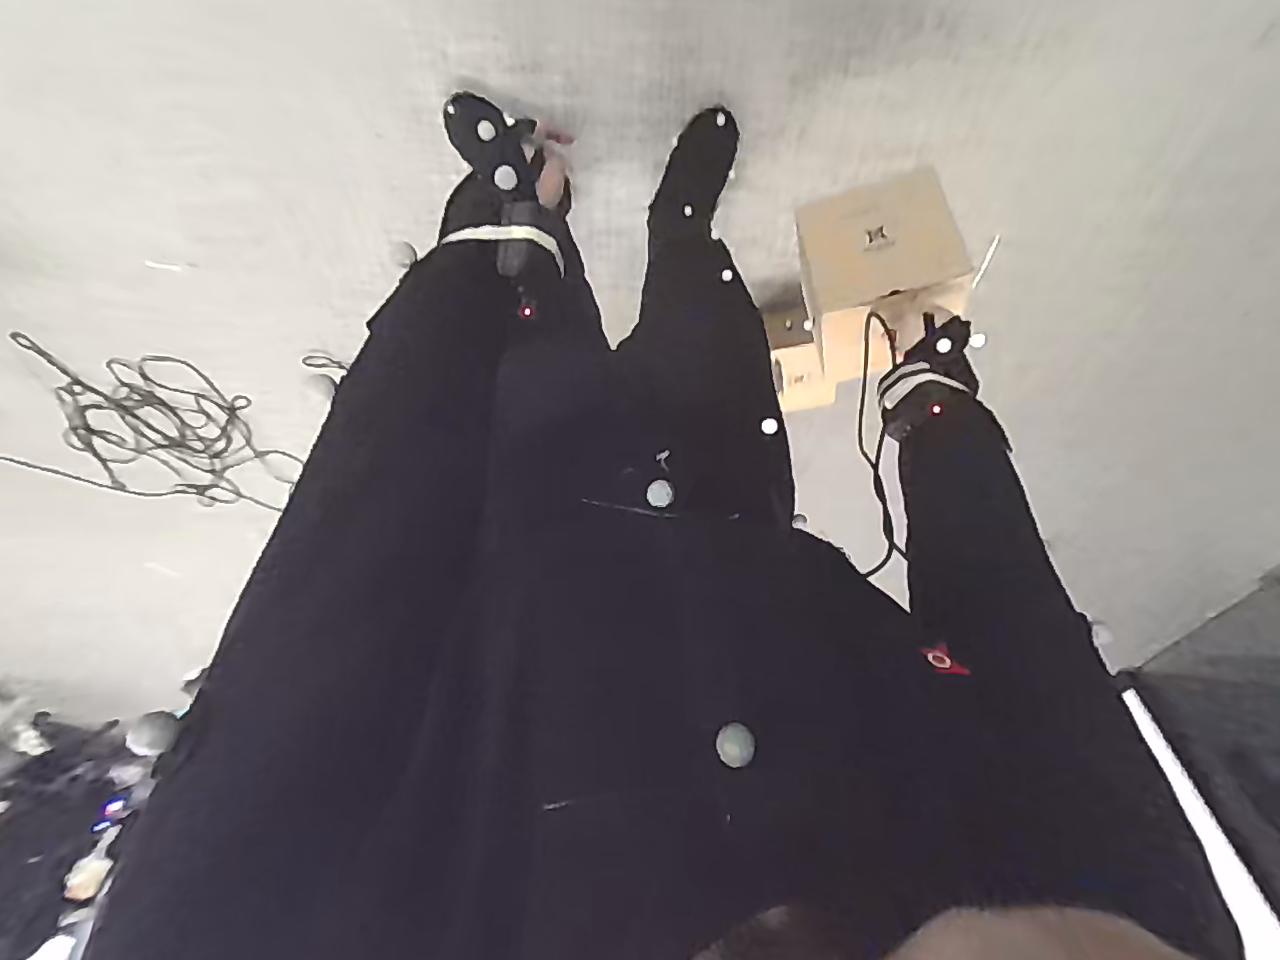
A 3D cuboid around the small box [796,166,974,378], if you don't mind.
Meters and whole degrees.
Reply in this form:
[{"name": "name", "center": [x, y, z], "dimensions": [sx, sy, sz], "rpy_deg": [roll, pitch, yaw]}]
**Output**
[{"name": "small box", "center": [0.307, -0.251, 0.701], "dimensions": [0.168, 0.179, 0.176], "rpy_deg": [-11, 155, 17]}]
